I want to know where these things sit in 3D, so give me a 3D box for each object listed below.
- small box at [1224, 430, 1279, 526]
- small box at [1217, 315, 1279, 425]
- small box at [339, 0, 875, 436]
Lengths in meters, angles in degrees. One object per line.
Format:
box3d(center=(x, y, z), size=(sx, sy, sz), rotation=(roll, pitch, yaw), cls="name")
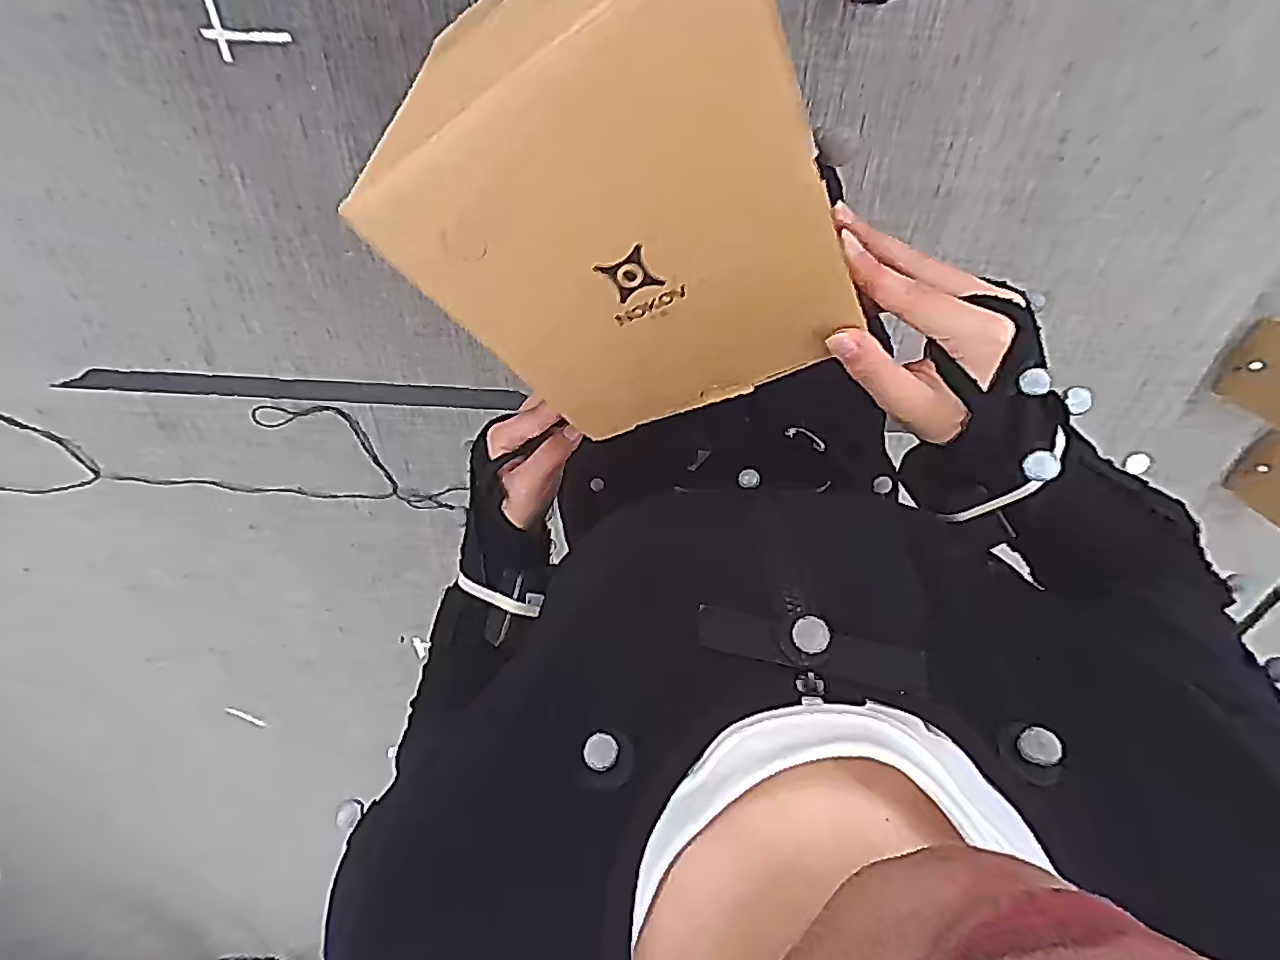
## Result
box3d(center=(1.465, 0.002, 1.170), size=(0.179, 0.176, 0.168), rotation=(5, 126, -1), cls="small box")
box3d(center=(1.290, -0.206, 1.023), size=(0.179, 0.176, 0.168), rotation=(2, 125, 0), cls="small box")
box3d(center=(-0.002, -0.156, 0.271), size=(0.168, 0.176, 0.179), rotation=(-18, 144, 26), cls="small box")
